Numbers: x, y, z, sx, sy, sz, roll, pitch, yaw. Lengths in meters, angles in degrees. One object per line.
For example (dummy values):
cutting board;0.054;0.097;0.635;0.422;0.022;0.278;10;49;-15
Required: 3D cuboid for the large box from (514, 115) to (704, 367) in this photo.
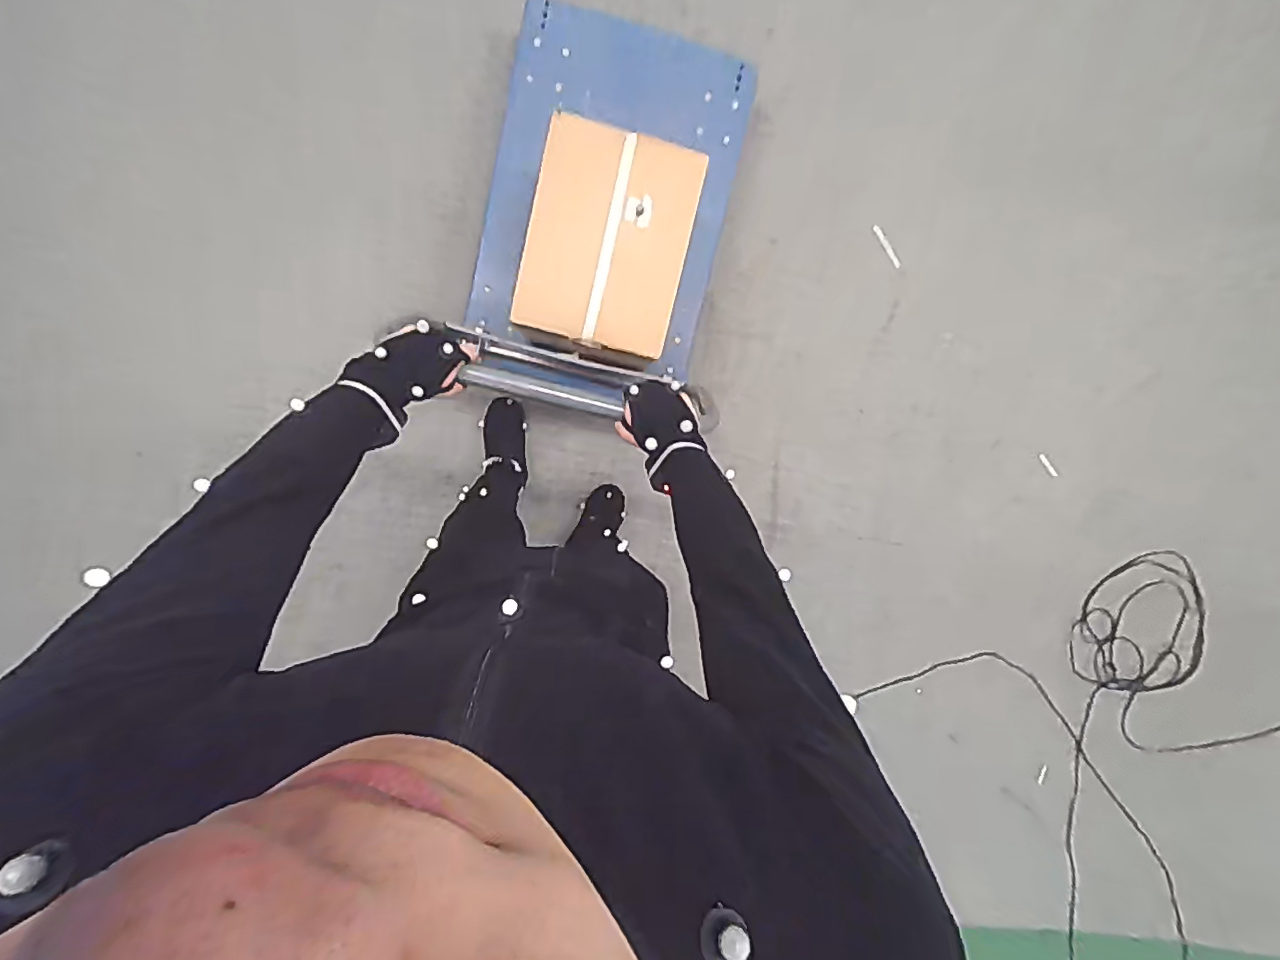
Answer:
large box;-0.075;-0.491;1.213;0.320;0.320;0.408;13;96;-7
